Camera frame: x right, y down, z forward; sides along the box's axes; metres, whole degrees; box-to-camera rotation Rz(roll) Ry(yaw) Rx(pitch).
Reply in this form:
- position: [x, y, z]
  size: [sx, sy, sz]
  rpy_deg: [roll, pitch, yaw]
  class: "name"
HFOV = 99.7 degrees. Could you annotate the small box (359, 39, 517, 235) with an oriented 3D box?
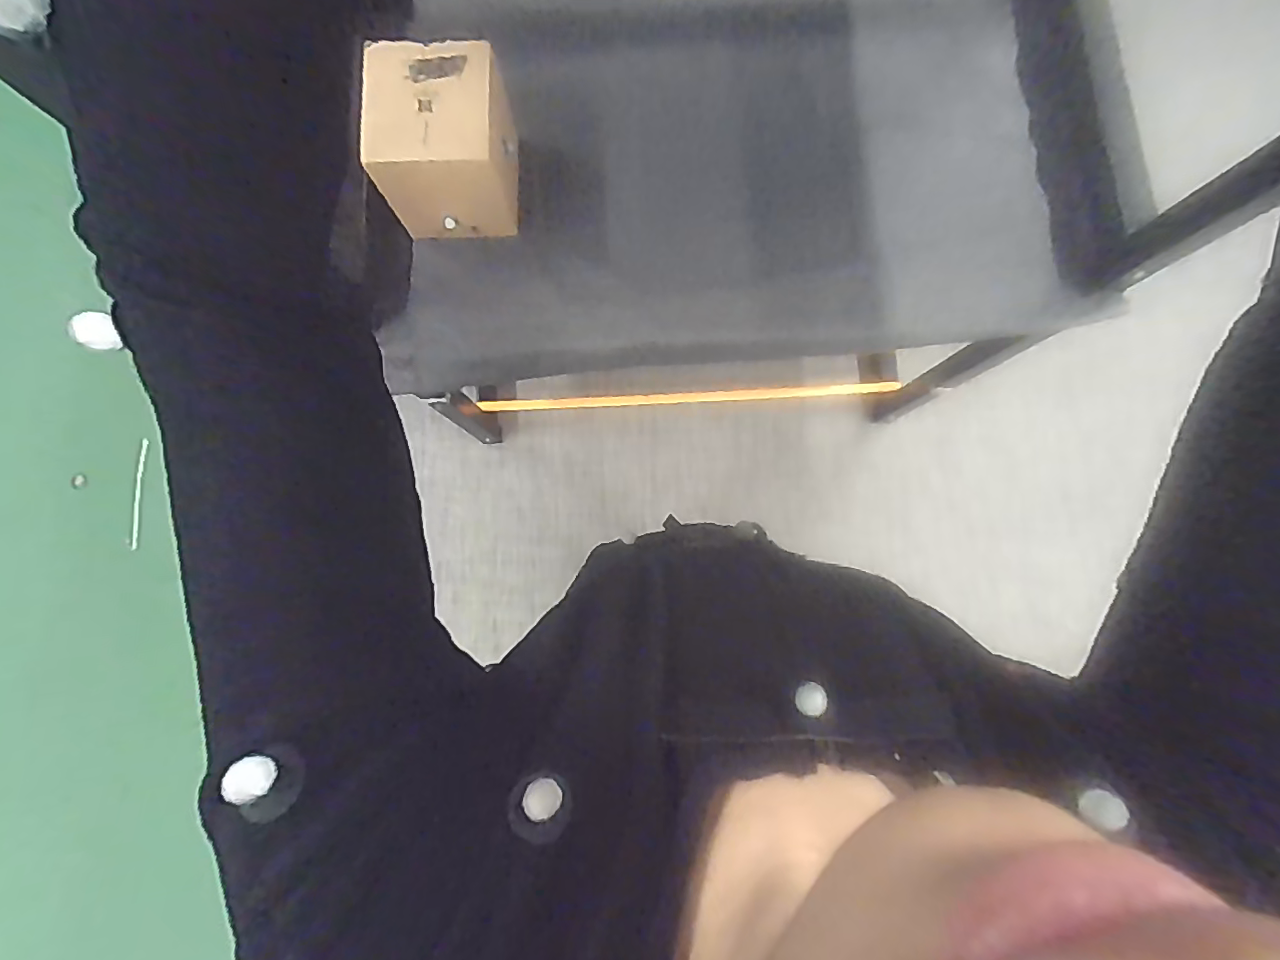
- position: [-0.277, -0.481, 0.775]
  size: [0.168, 0.176, 0.179]
  rpy_deg: [-2, 83, -1]
  class: "small box"
